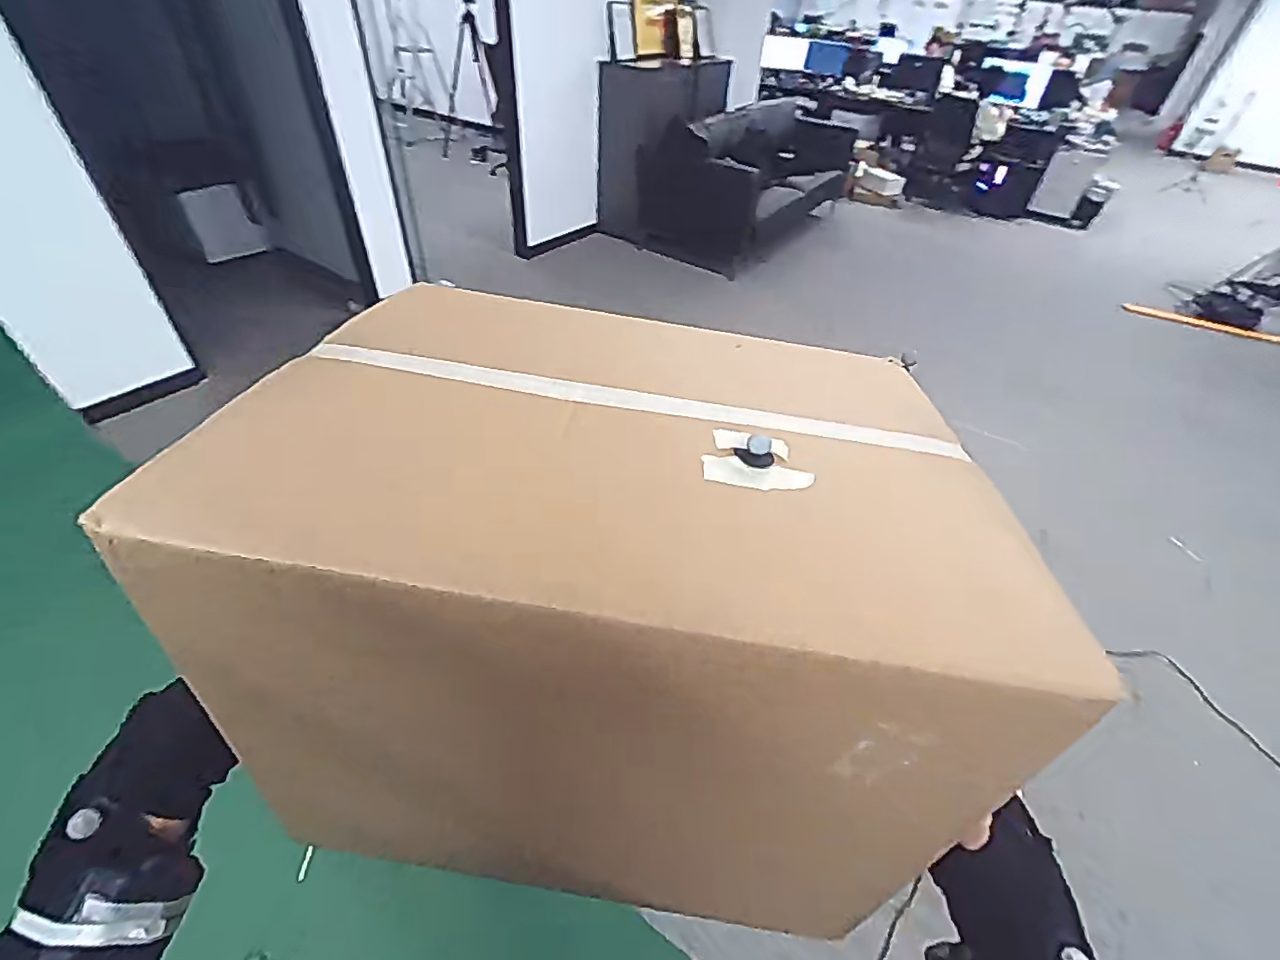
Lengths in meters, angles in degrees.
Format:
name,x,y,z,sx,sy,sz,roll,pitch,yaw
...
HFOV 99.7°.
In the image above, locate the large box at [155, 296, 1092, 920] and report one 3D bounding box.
name,x,y,z,sx,sy,sz,roll,pitch,yaw
large box,-0.013,0.082,0.428,0.408,0.320,0.320,11,37,1
